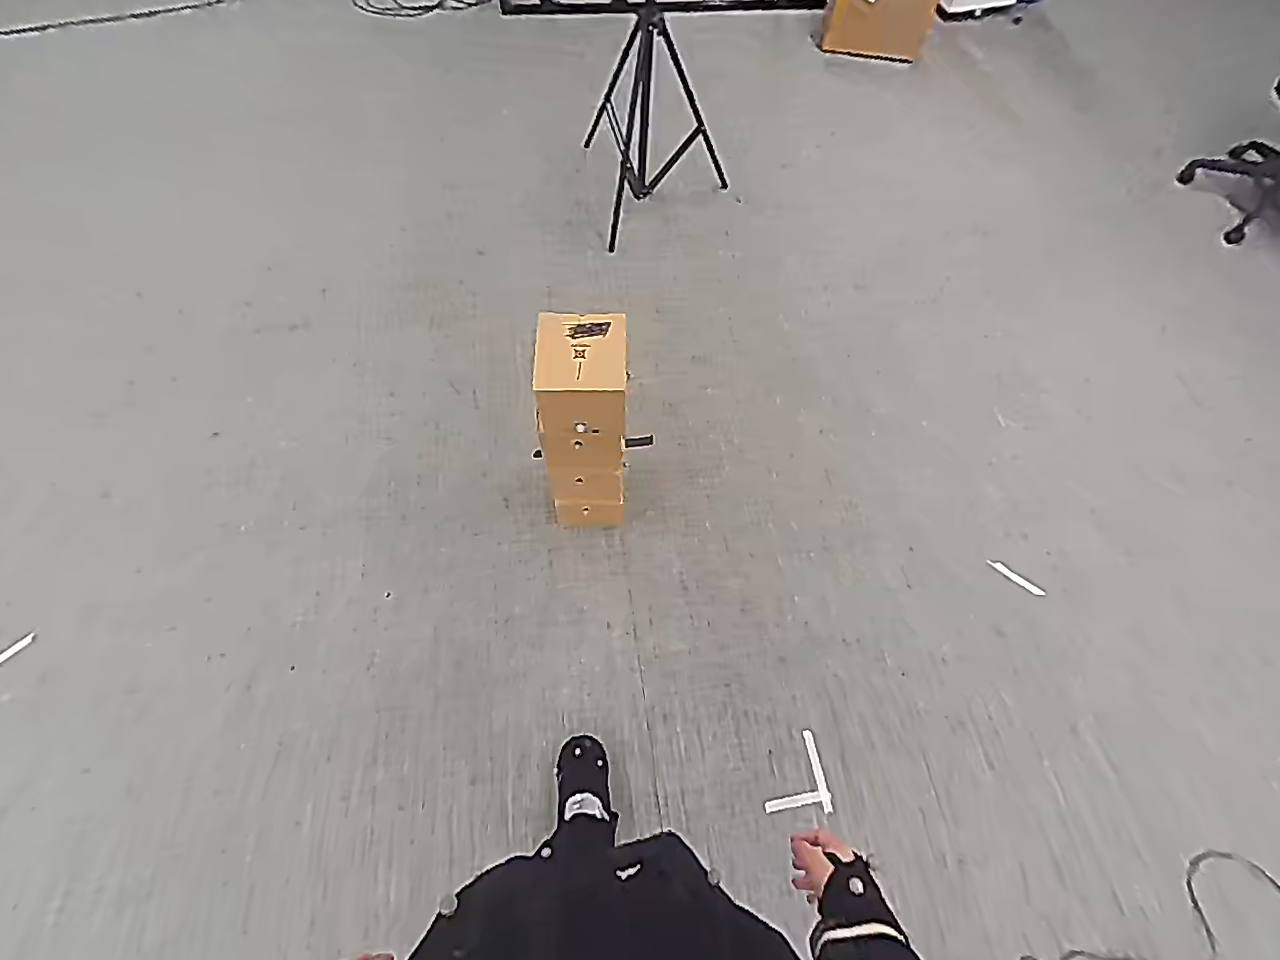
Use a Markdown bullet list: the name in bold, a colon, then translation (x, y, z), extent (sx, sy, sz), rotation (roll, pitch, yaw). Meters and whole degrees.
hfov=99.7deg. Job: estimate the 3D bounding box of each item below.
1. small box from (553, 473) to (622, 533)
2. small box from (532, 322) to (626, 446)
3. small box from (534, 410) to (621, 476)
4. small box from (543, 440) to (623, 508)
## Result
- **small box**: translation (-0.140, 0.041, 1.492), extent (0.179, 0.176, 0.168), rotation (0, 64, -2)
- **small box**: translation (-0.112, -0.184, 1.056), extent (0.168, 0.176, 0.179), rotation (0, 66, -1)
- **small box**: translation (-0.131, -0.116, 1.205), extent (0.179, 0.176, 0.168), rotation (1, 65, -2)
- **small box**: translation (-0.136, -0.038, 1.347), extent (0.179, 0.176, 0.168), rotation (3, 65, -1)
